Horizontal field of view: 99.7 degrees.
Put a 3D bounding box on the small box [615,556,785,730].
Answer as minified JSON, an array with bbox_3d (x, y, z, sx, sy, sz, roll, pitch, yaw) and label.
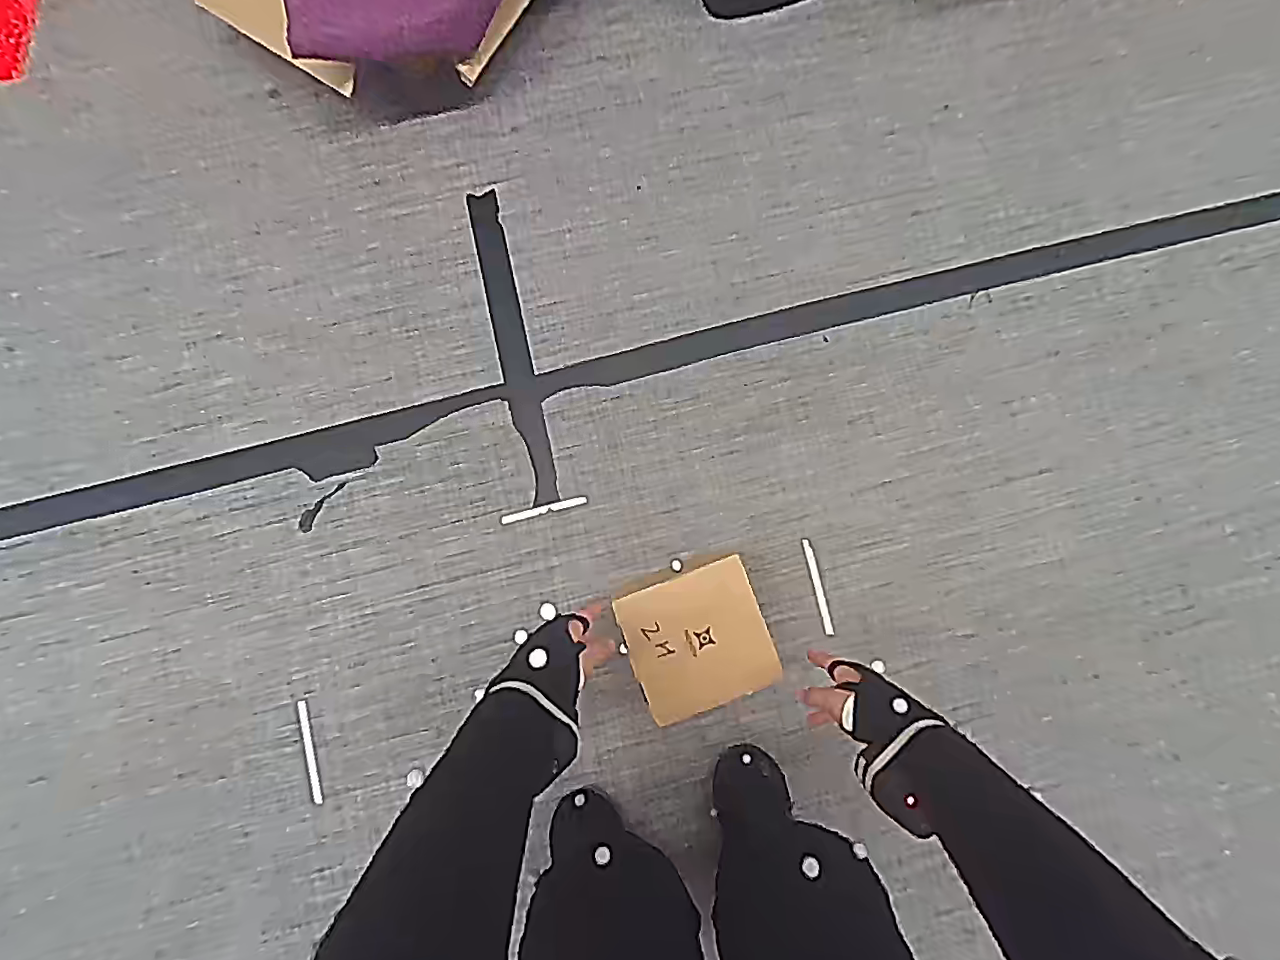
[{"bbox_3d":[0.070,0.209,0.750,0.179,0.176,0.168,-20,85,-3],"label":"small box"}]
